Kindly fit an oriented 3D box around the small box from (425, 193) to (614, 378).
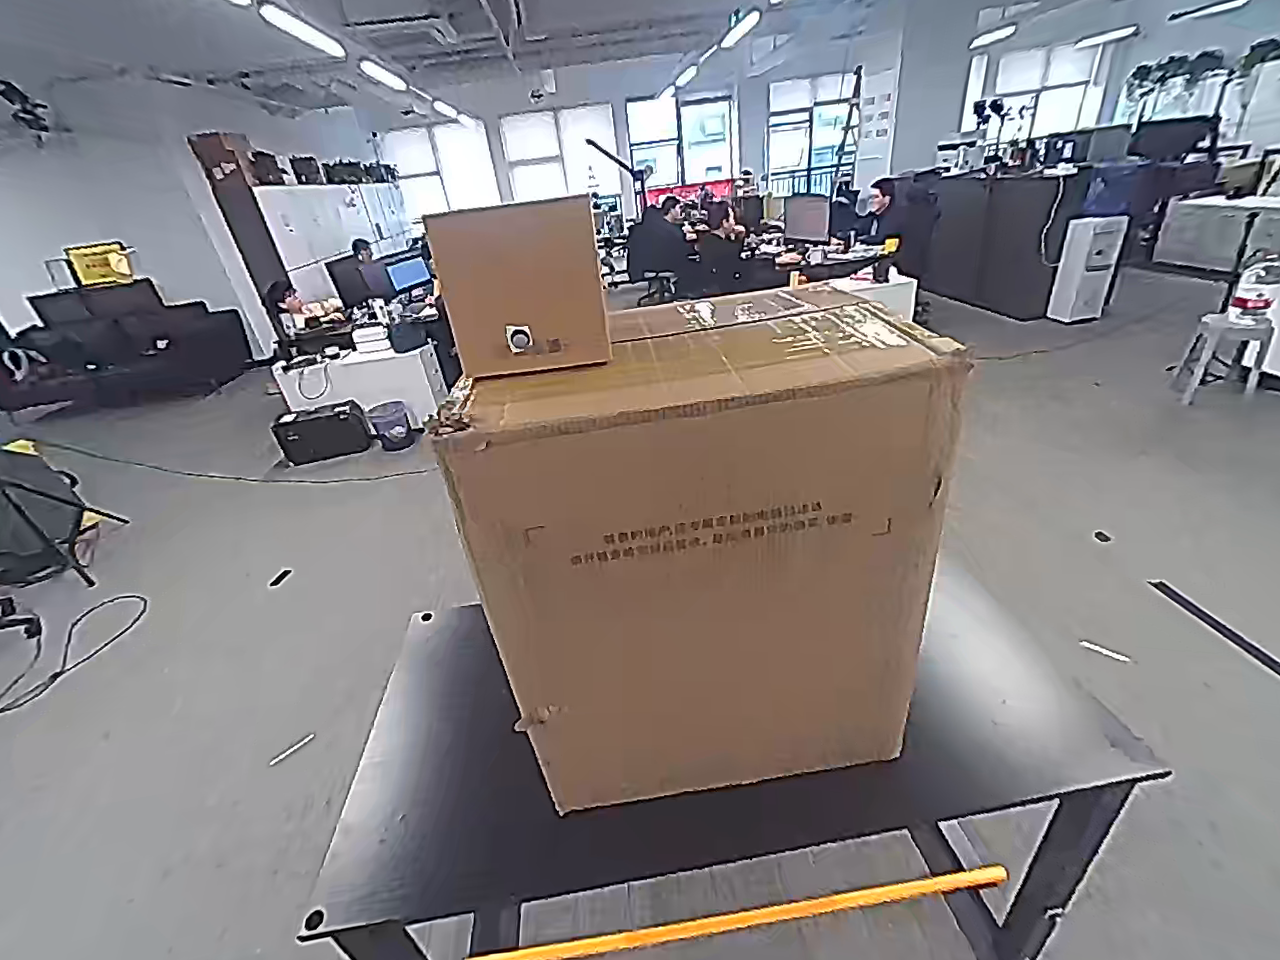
[{"bbox_3d":[-0.125,-0.229,0.629,0.168,0.176,0.179,-9,29,-2],"label":"small box"}]
